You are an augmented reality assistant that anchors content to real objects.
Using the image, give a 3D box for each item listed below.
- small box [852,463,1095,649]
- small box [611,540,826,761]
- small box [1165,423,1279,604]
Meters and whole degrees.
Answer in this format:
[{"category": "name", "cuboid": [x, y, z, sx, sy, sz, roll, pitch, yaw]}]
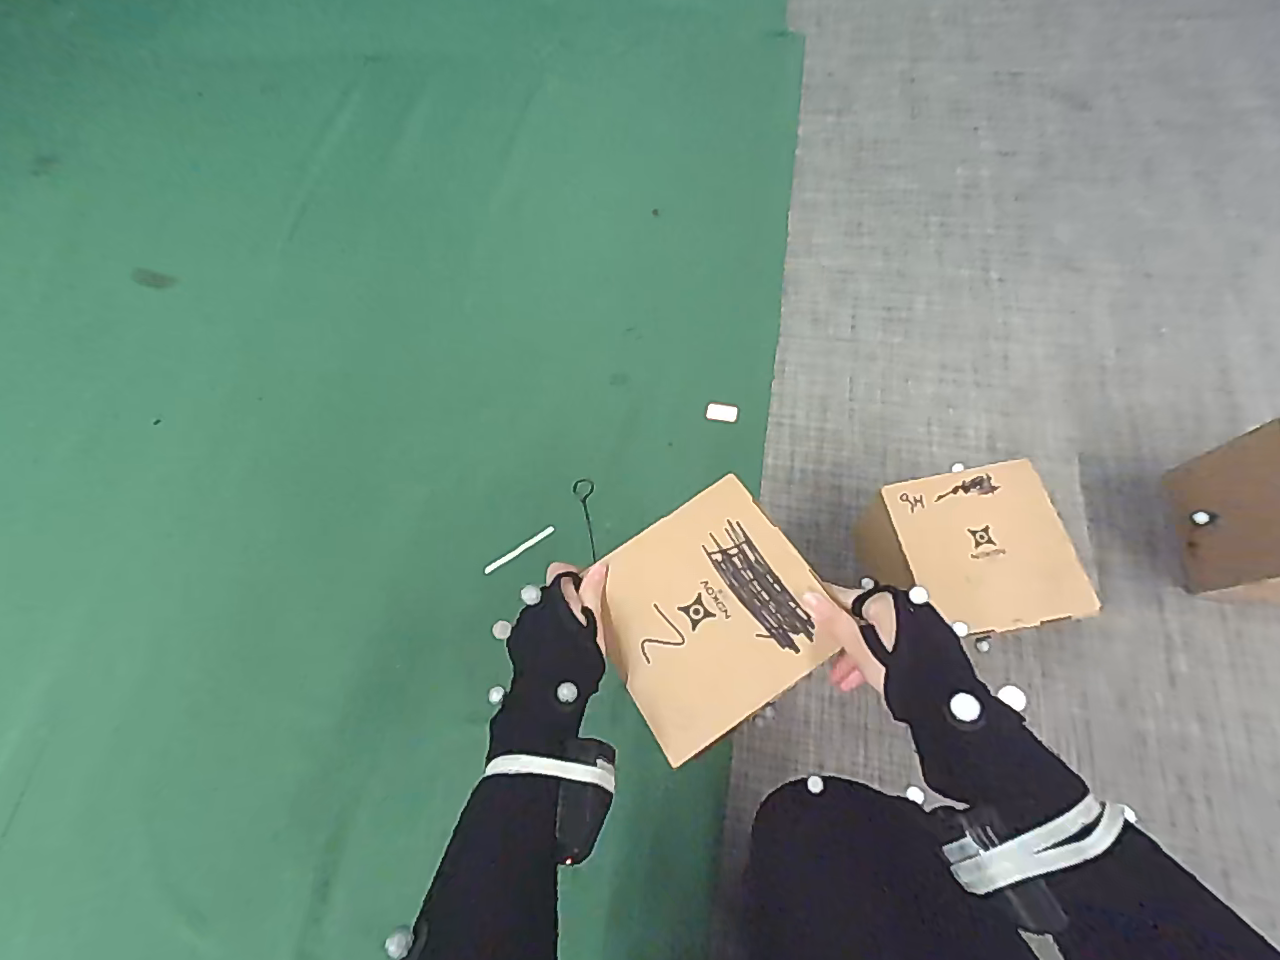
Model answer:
[{"category": "small box", "cuboid": [0.373, 0.102, 0.647, 0.168, 0.176, 0.179, -11, 68, 4]}, {"category": "small box", "cuboid": [0.092, 0.206, 0.649, 0.179, 0.176, 0.168, -35, 67, -7]}, {"category": "small box", "cuboid": [0.765, 0.044, 0.608, 0.179, 0.176, 0.168, 4, 69, 9]}]
